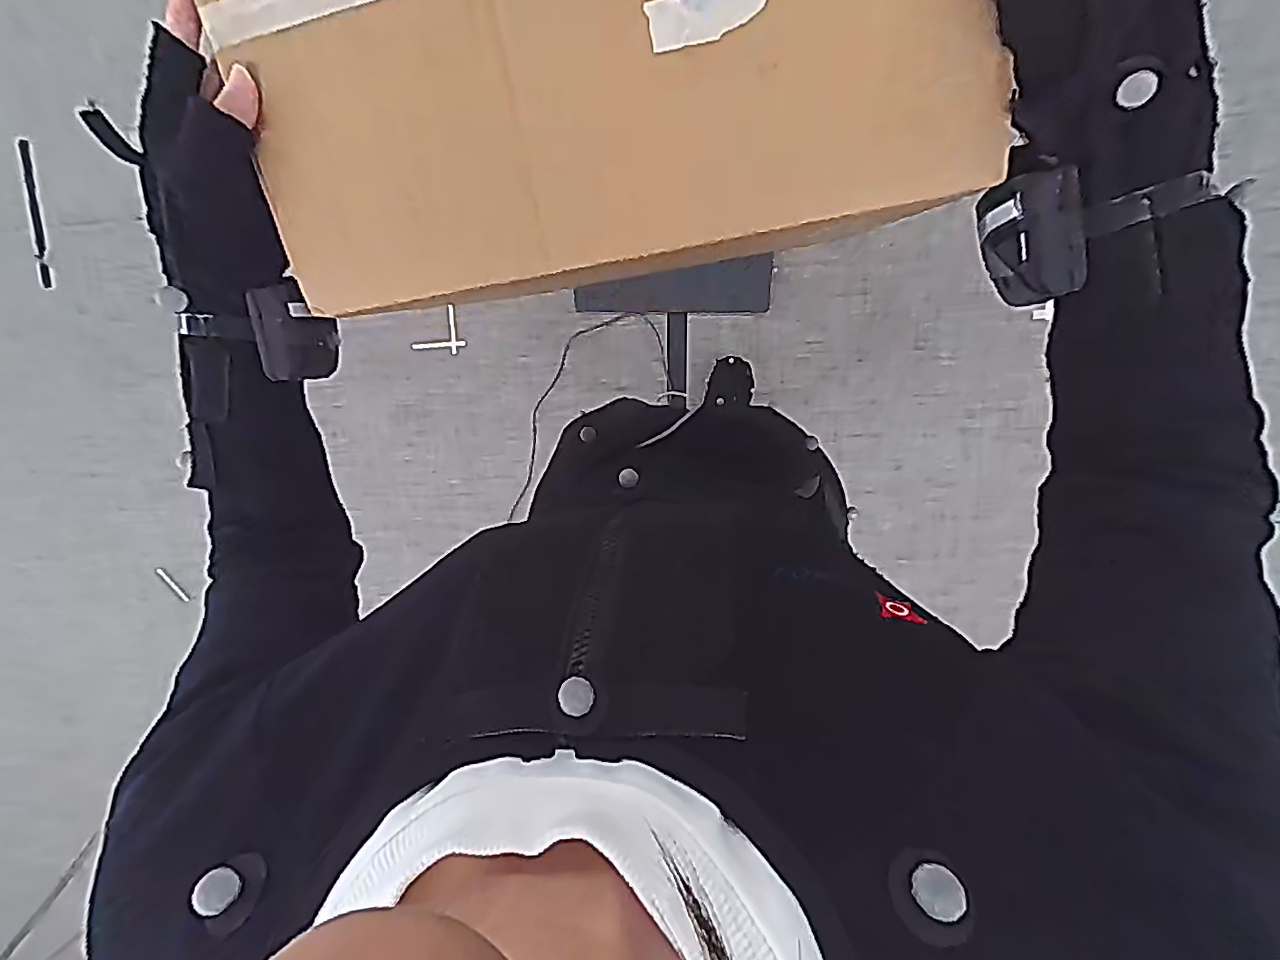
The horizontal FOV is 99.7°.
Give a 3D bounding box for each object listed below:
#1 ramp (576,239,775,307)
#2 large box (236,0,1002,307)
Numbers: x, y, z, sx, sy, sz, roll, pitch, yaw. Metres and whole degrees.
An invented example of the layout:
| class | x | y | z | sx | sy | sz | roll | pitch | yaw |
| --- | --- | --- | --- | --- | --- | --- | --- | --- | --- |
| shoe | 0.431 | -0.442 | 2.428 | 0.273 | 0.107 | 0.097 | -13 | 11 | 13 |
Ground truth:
| class | x | y | z | sx | sy | sz | roll | pitch | yaw |
| --- | --- | --- | --- | --- | --- | --- | --- | --- | --- |
| ramp | 0.076 | -0.905 | 1.192 | 0.509 | 0.206 | 0.991 | 1 | 101 | 7 |
| large box | -0.014 | -0.332 | 0.410 | 0.408 | 0.320 | 0.320 | -7 | 110 | 11 |
